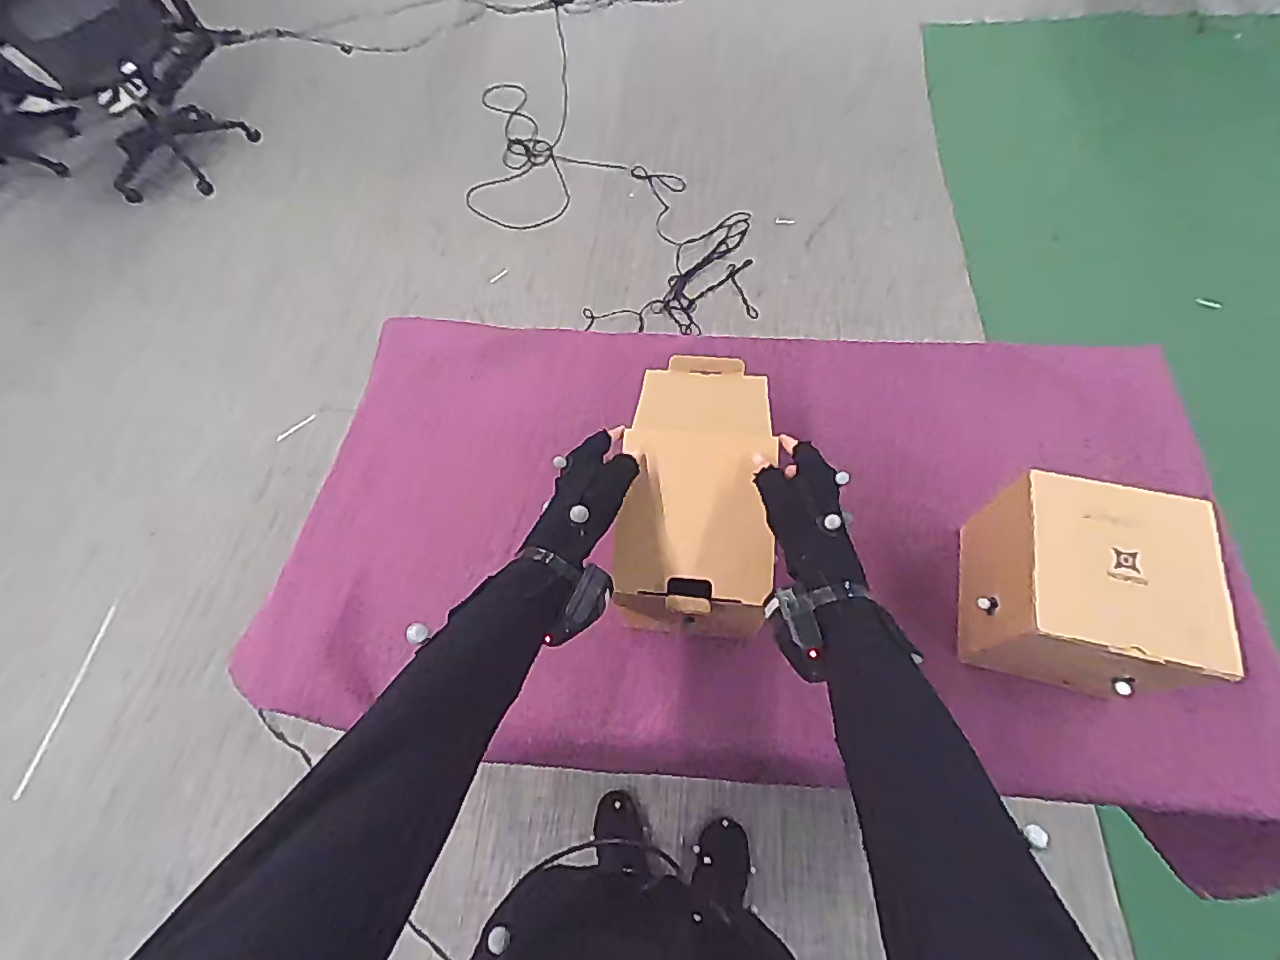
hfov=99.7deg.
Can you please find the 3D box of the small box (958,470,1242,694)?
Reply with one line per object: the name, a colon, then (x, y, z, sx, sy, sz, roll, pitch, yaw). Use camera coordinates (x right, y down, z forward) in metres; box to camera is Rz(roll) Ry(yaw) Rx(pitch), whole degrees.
small box: (0.465, 0.117, 0.581, 0.168, 0.176, 0.179, 13, 64, 11)
